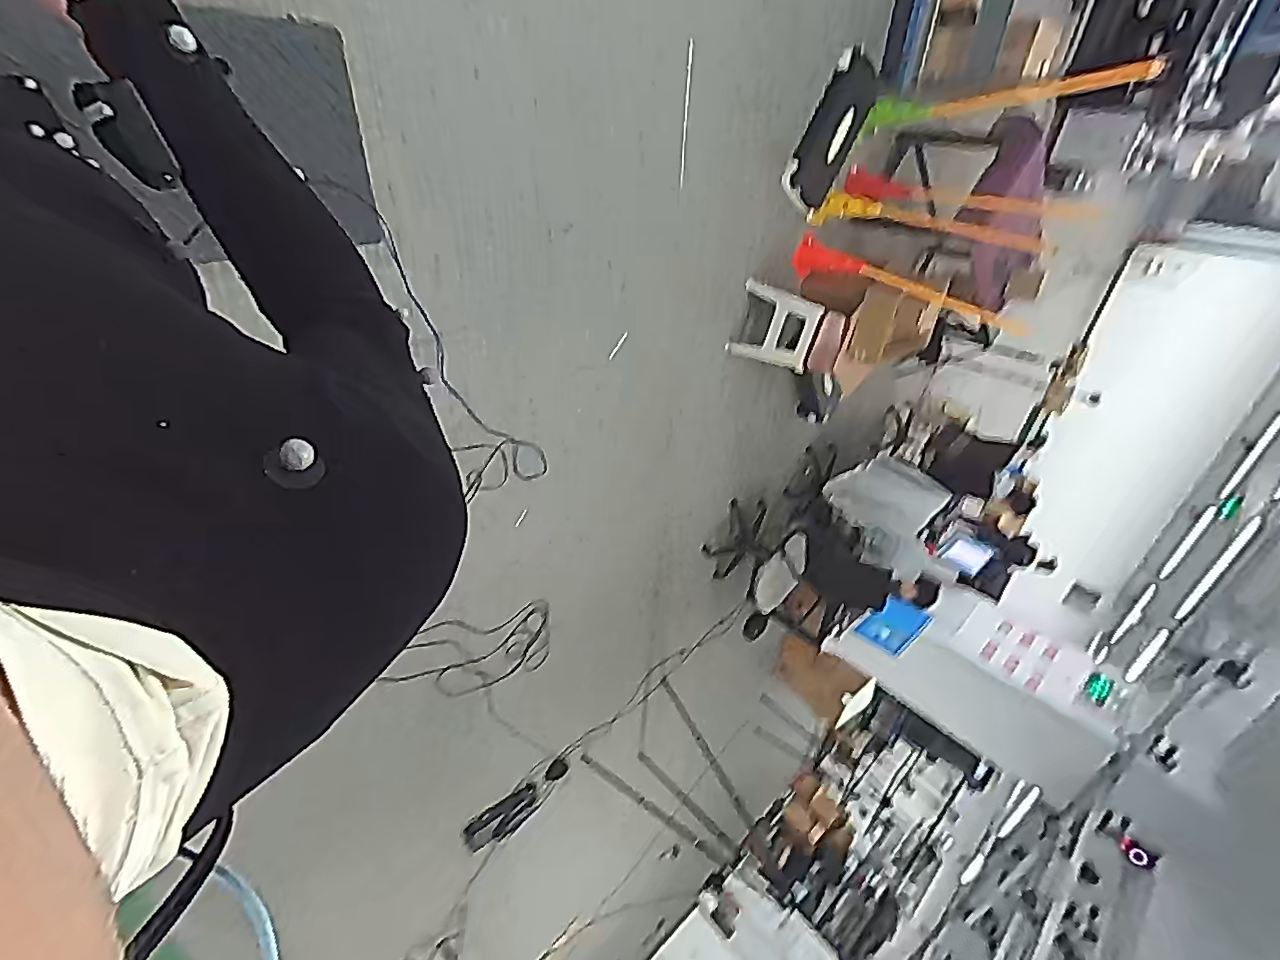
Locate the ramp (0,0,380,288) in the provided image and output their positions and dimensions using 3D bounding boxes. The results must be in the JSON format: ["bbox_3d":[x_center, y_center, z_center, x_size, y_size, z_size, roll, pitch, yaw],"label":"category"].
[{"bbox_3d":[-1.056,-0.699,1.111,0.991,0.206,0.509,-26,132,-34],"label":"ramp"}]
